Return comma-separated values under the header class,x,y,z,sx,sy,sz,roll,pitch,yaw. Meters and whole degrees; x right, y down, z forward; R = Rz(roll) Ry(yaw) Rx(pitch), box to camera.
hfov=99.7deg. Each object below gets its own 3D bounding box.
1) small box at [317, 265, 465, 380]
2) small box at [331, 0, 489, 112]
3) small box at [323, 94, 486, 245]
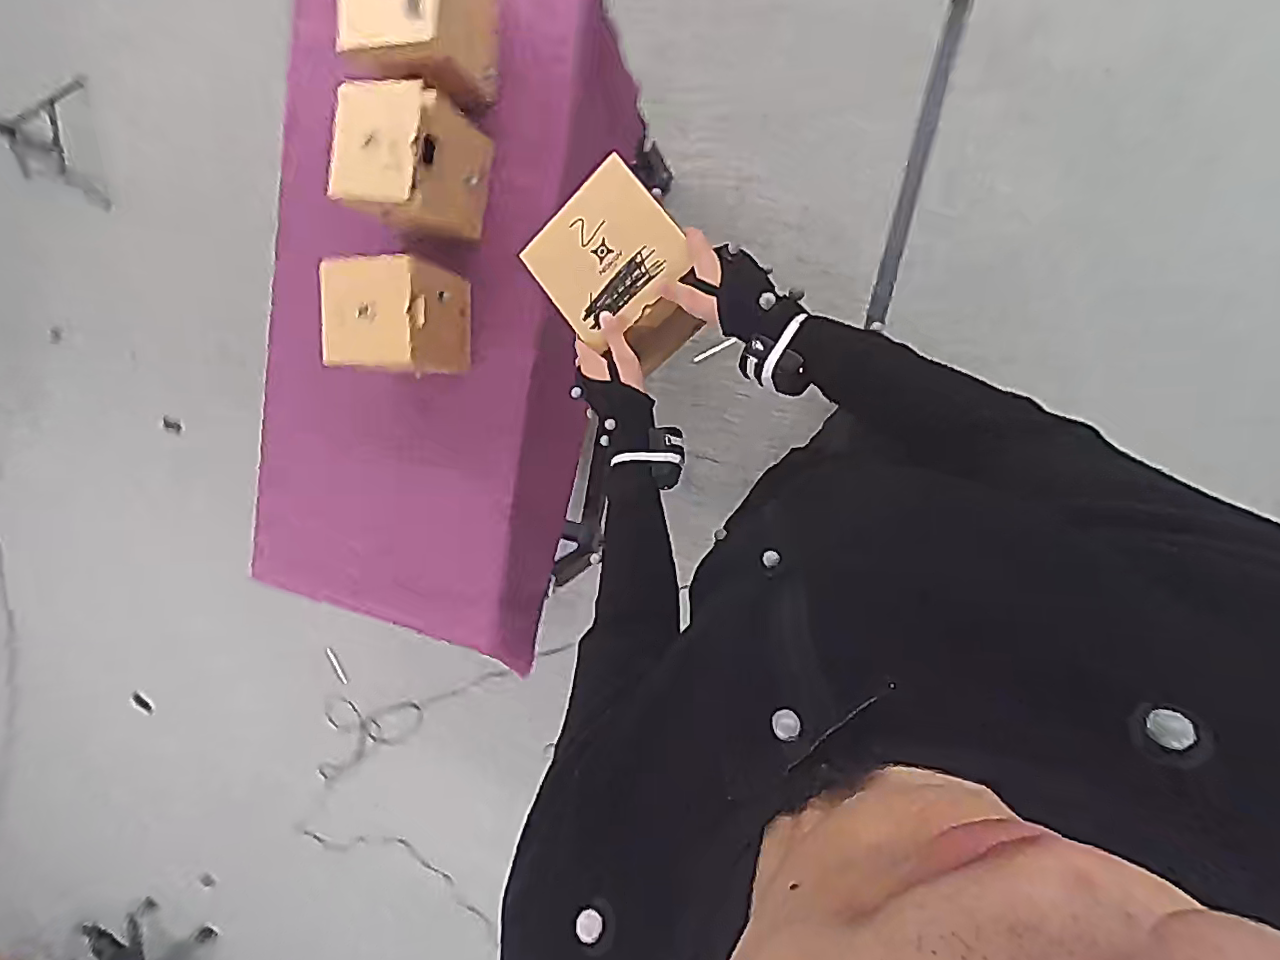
class,x,y,z,sx,sy,sz,roll,pitch,yaw
small box,-0.422,-0.266,0.942,0.179,0.176,0.168,3,96,16
small box,-0.362,-0.724,0.873,0.179,0.176,0.168,7,98,16
small box,-0.387,-0.507,0.904,0.179,0.176,0.168,13,100,14
